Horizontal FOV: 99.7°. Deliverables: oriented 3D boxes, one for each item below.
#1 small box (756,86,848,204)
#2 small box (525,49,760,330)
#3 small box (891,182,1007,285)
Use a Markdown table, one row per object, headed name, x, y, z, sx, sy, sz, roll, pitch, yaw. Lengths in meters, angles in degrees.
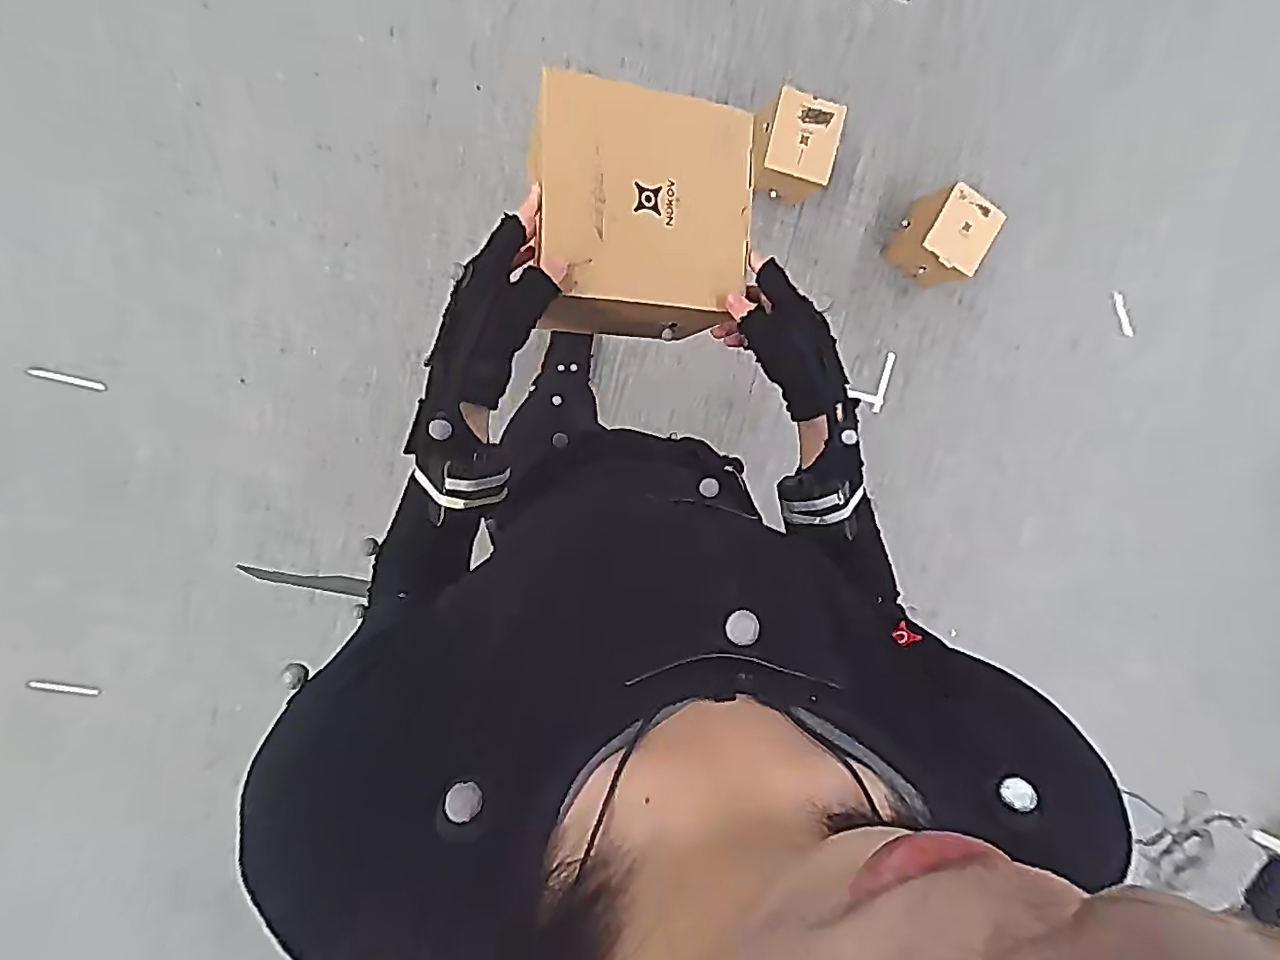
| name | x | y | z | sx | sy | sz | roll | pitch | yaw |
| --- | --- | --- | --- | --- | --- | --- | --- | --- | --- |
| small box | 0.371 | -0.804 | 1.317 | 0.168 | 0.176 | 0.179 | 11 | 101 | -11 |
| small box | -0.009 | -0.238 | 0.497 | 0.179 | 0.176 | 0.168 | -1 | 95 | -16 |
| small box | 0.797 | -0.635 | 1.420 | 0.168 | 0.176 | 0.179 | 27 | 97 | -13 |
